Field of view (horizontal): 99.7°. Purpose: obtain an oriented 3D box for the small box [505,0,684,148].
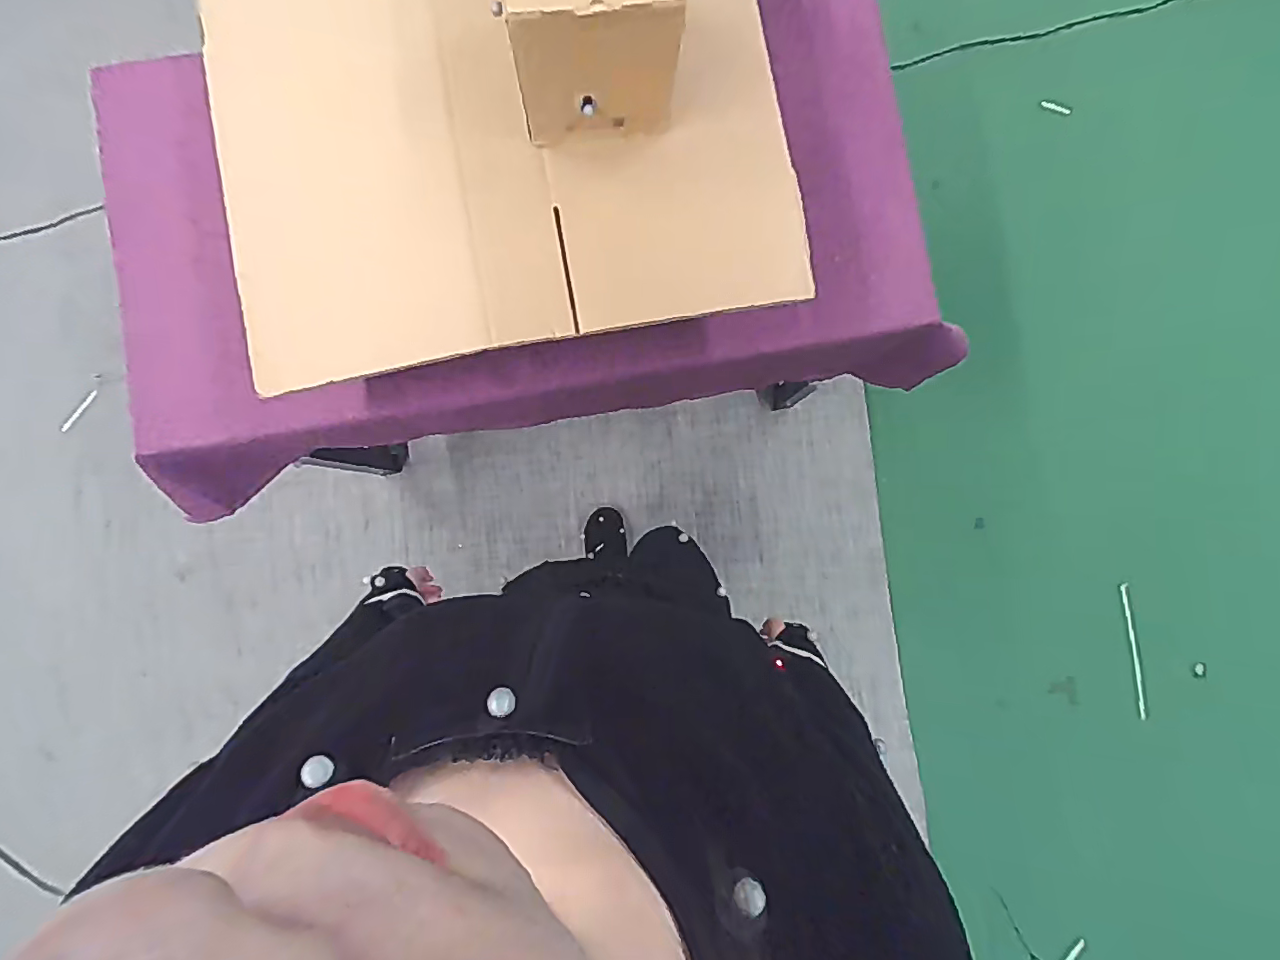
[{"bbox_3d":[-0.055,-0.498,0.579,0.168,0.176,0.179,-8,87,-3],"label":"small box"}]
